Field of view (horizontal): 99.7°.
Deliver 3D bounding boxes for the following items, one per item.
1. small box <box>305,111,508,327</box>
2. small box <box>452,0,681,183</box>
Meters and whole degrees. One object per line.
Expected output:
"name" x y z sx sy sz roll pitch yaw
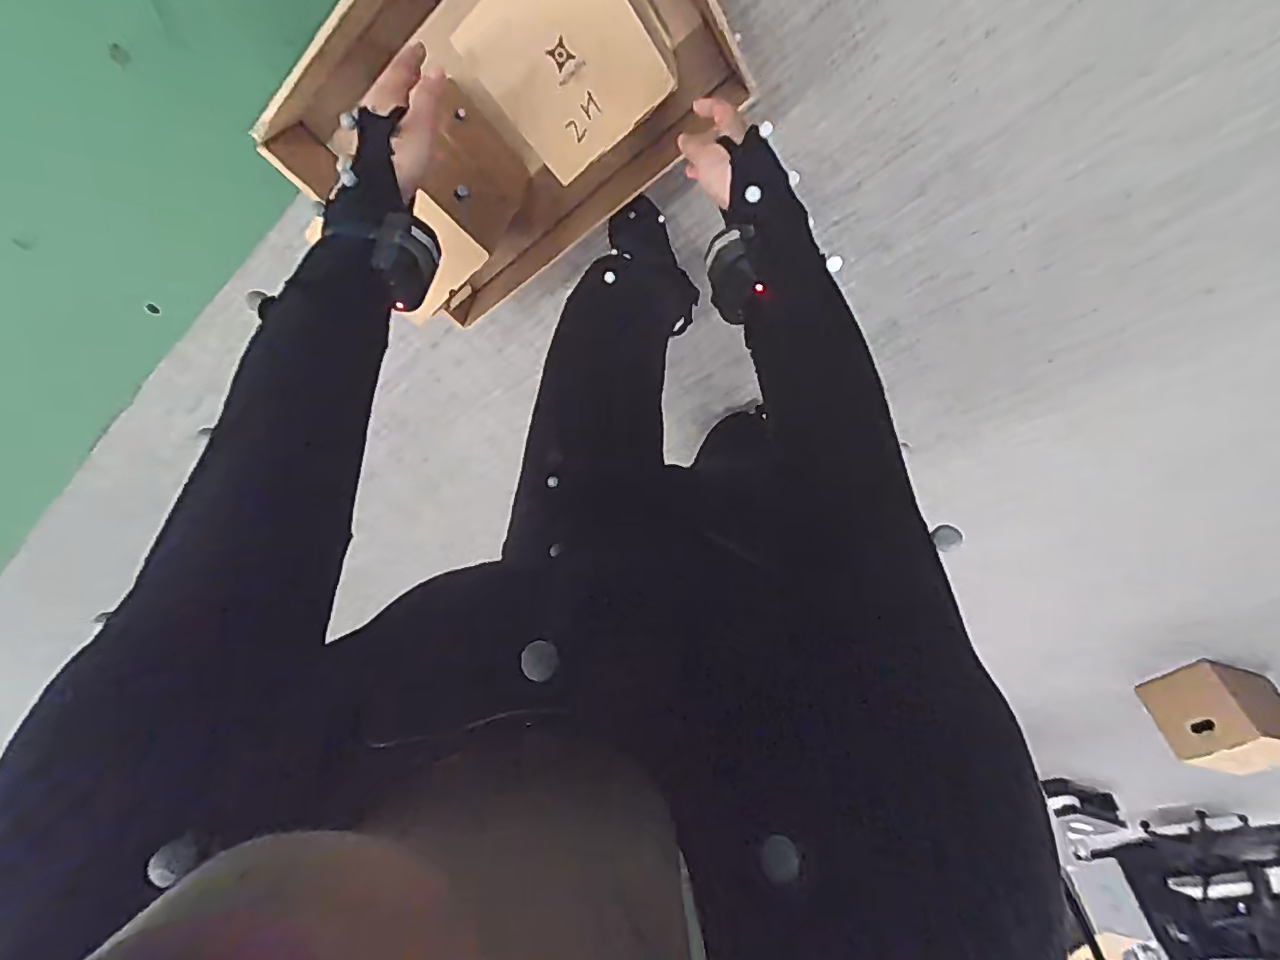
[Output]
"small box" -0.303 -0.354 0.738 0.168 0.176 0.179 -30 130 28
"small box" -0.073 -0.483 0.602 0.168 0.176 0.179 -27 131 27
